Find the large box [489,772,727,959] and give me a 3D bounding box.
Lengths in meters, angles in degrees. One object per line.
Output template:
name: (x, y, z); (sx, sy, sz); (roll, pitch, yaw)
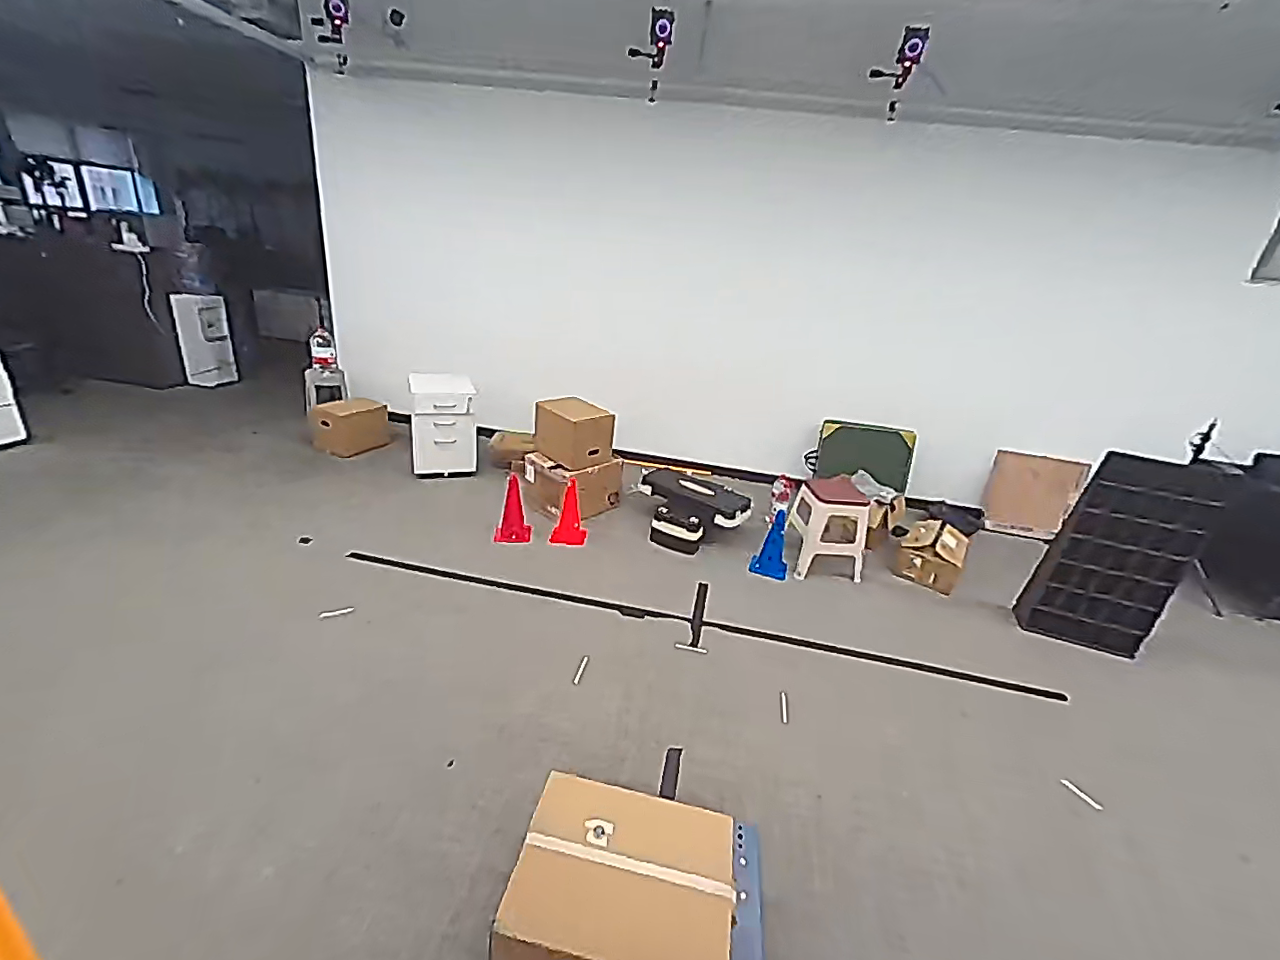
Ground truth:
large box: (-0.050, 0.868, 1.090); (0.408, 0.320, 0.320); (10, 24, 8)
